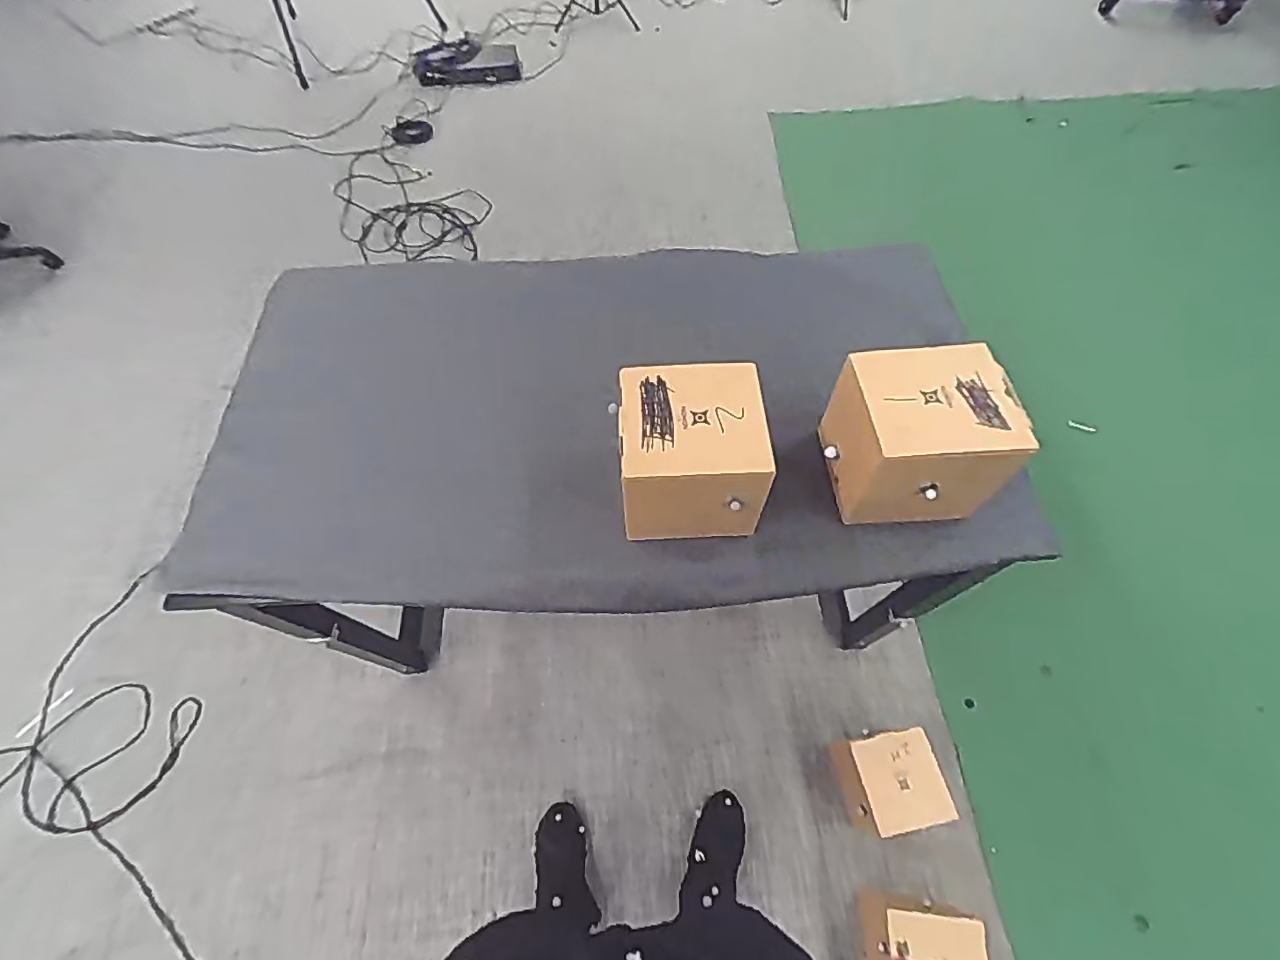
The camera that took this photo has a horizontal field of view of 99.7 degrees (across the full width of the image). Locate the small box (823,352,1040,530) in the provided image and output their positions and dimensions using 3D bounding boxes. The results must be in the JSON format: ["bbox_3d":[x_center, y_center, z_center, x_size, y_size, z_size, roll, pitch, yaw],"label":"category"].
[{"bbox_3d":[0.360,-0.045,0.707,0.179,0.176,0.168,-3,58,2],"label":"small box"}]

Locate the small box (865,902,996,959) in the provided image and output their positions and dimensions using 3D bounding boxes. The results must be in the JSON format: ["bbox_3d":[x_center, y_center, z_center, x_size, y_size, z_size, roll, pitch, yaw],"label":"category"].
[{"bbox_3d":[0.543,0.921,1.014,0.179,0.176,0.168,4,63,5],"label":"small box"}]

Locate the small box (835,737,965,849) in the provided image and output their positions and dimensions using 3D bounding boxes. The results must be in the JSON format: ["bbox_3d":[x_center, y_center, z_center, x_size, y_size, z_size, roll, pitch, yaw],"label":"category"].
[{"bbox_3d":[0.542,0.659,1.154,0.168,0.176,0.179,-10,62,-4],"label":"small box"}]
